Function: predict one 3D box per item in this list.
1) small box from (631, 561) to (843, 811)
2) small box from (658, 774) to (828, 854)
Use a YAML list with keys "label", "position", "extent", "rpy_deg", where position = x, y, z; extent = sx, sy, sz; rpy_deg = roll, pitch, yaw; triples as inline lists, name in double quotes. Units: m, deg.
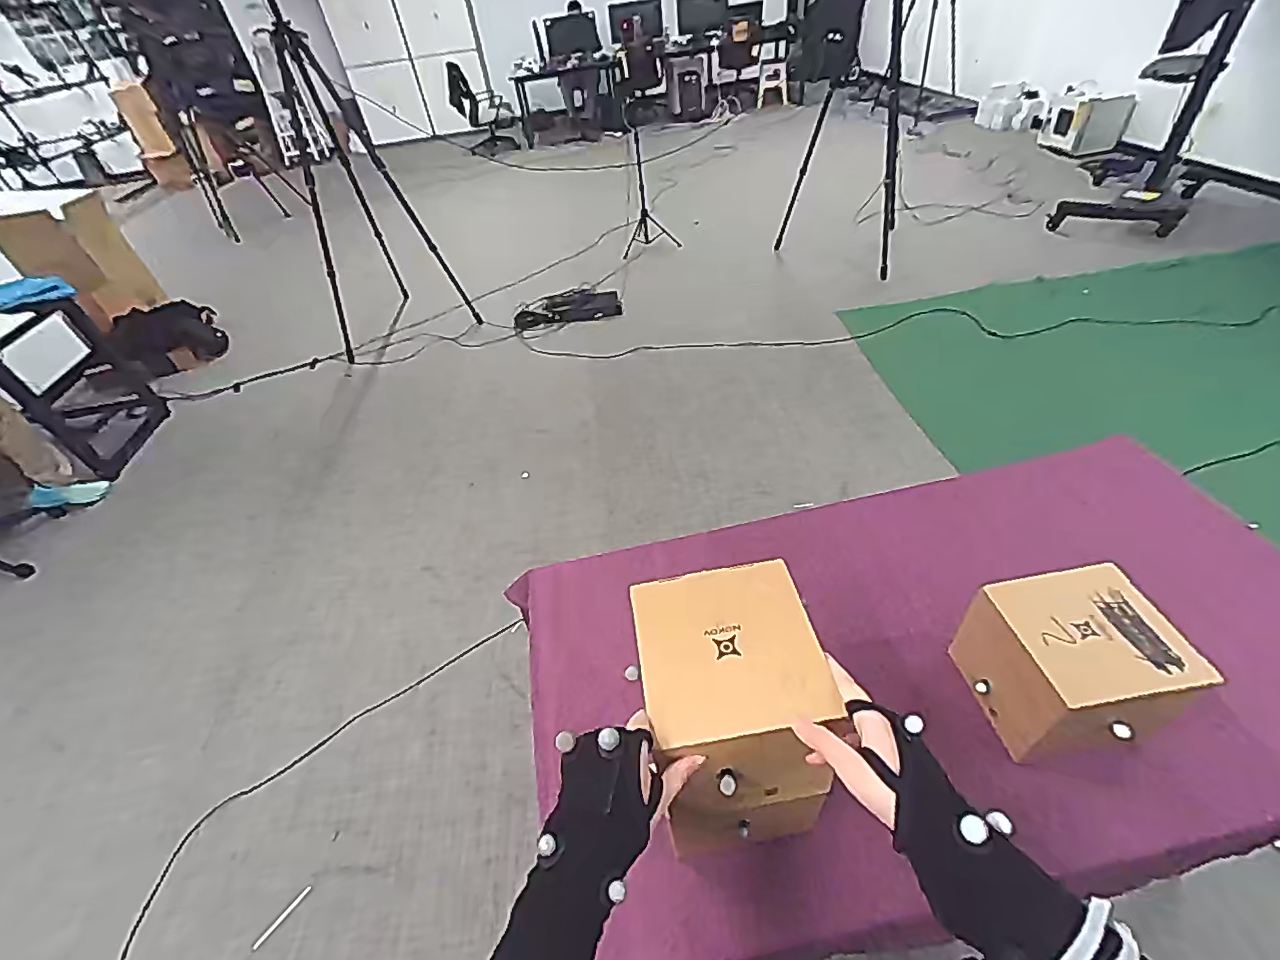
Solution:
- label: "small box"
  position: [0.091, 0.214, 0.555]
  extent: [0.168, 0.176, 0.179]
  rpy_deg: [-10, 40, 0]
- label: "small box"
  position: [0.108, 0.335, 0.668]
  extent: [0.179, 0.176, 0.168]
  rpy_deg: [-11, 43, -1]
